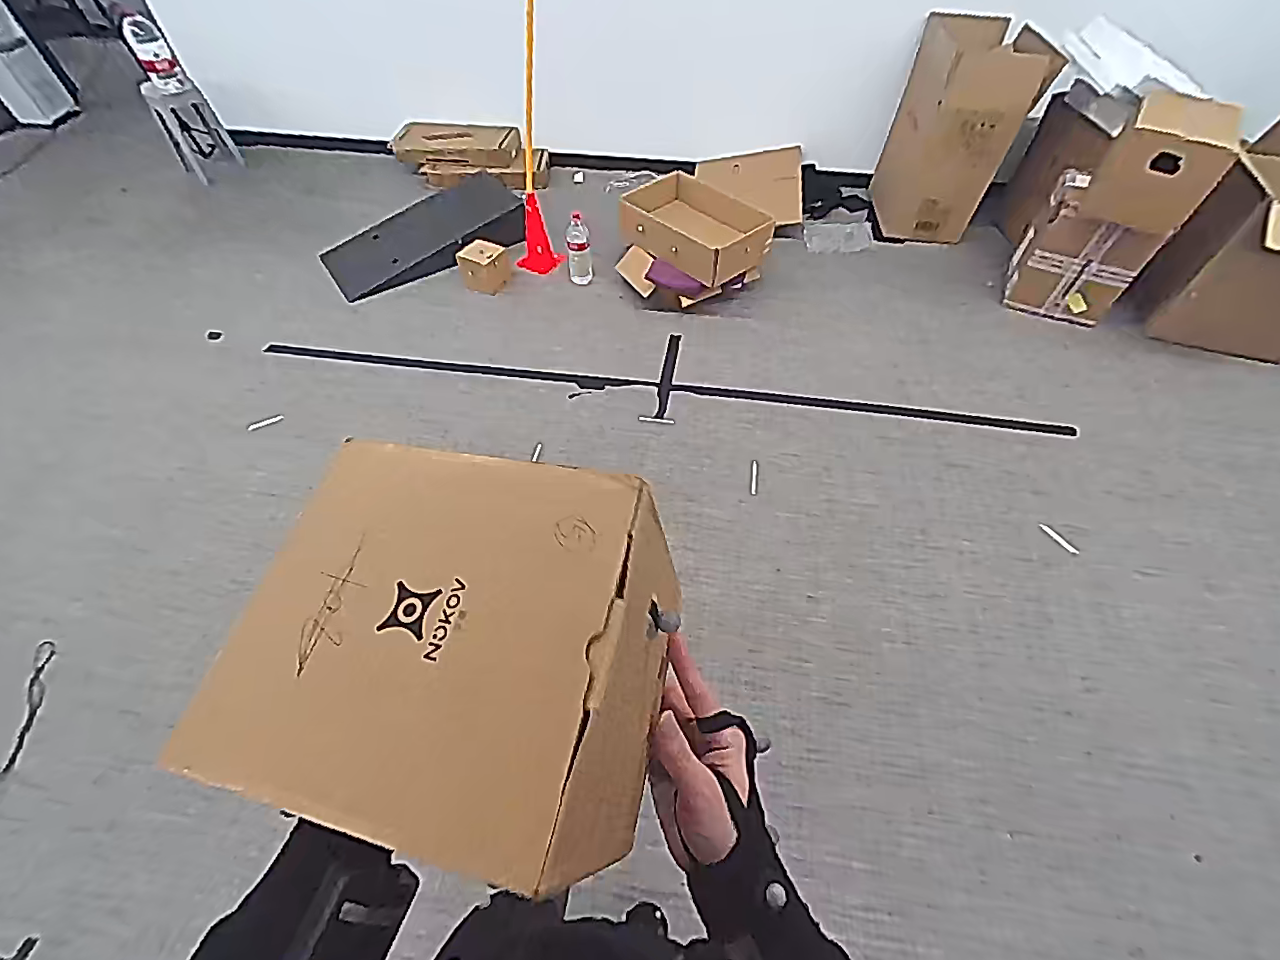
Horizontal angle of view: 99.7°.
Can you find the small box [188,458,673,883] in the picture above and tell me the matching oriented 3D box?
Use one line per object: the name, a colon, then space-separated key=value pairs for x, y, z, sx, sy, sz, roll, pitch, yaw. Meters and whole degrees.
small box: x=-0.083 y=0.107 z=0.317 sx=0.179 sy=0.176 sz=0.168 roll=5 pitch=59 yaw=15
